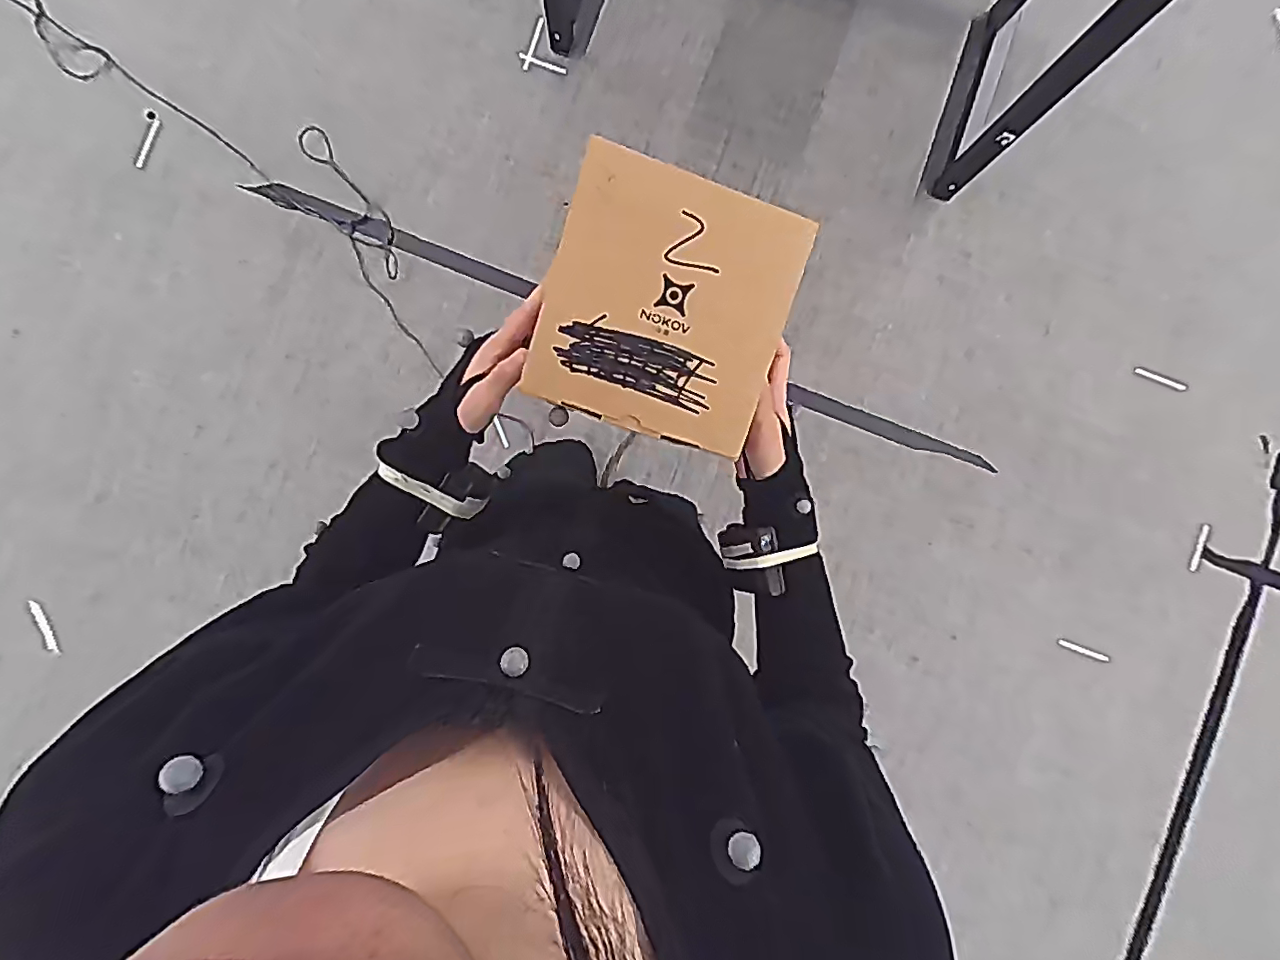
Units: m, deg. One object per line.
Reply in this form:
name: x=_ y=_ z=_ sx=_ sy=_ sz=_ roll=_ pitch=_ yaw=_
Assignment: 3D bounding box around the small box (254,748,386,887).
small box: x=-0.702 y=0.744 z=1.209 sx=0.168 sy=0.176 sz=0.179 roll=23 pitch=88 yaw=-2
